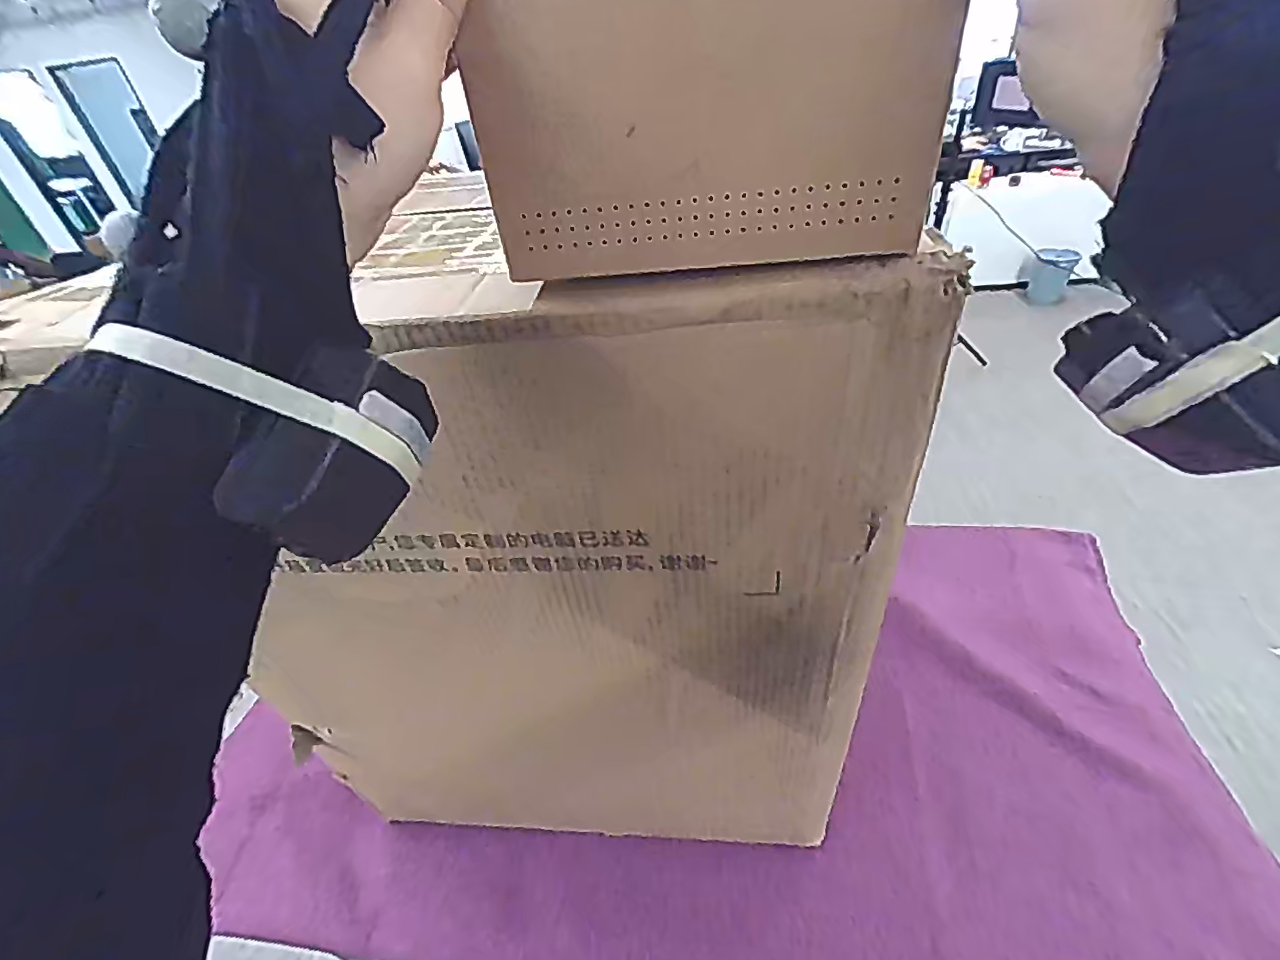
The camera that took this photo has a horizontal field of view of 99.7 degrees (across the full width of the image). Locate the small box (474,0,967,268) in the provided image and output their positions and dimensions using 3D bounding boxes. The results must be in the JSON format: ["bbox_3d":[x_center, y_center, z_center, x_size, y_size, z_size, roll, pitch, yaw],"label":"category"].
[{"bbox_3d":[0.030,-0.204,0.240,0.179,0.176,0.168,-2,40,7],"label":"small box"}]
